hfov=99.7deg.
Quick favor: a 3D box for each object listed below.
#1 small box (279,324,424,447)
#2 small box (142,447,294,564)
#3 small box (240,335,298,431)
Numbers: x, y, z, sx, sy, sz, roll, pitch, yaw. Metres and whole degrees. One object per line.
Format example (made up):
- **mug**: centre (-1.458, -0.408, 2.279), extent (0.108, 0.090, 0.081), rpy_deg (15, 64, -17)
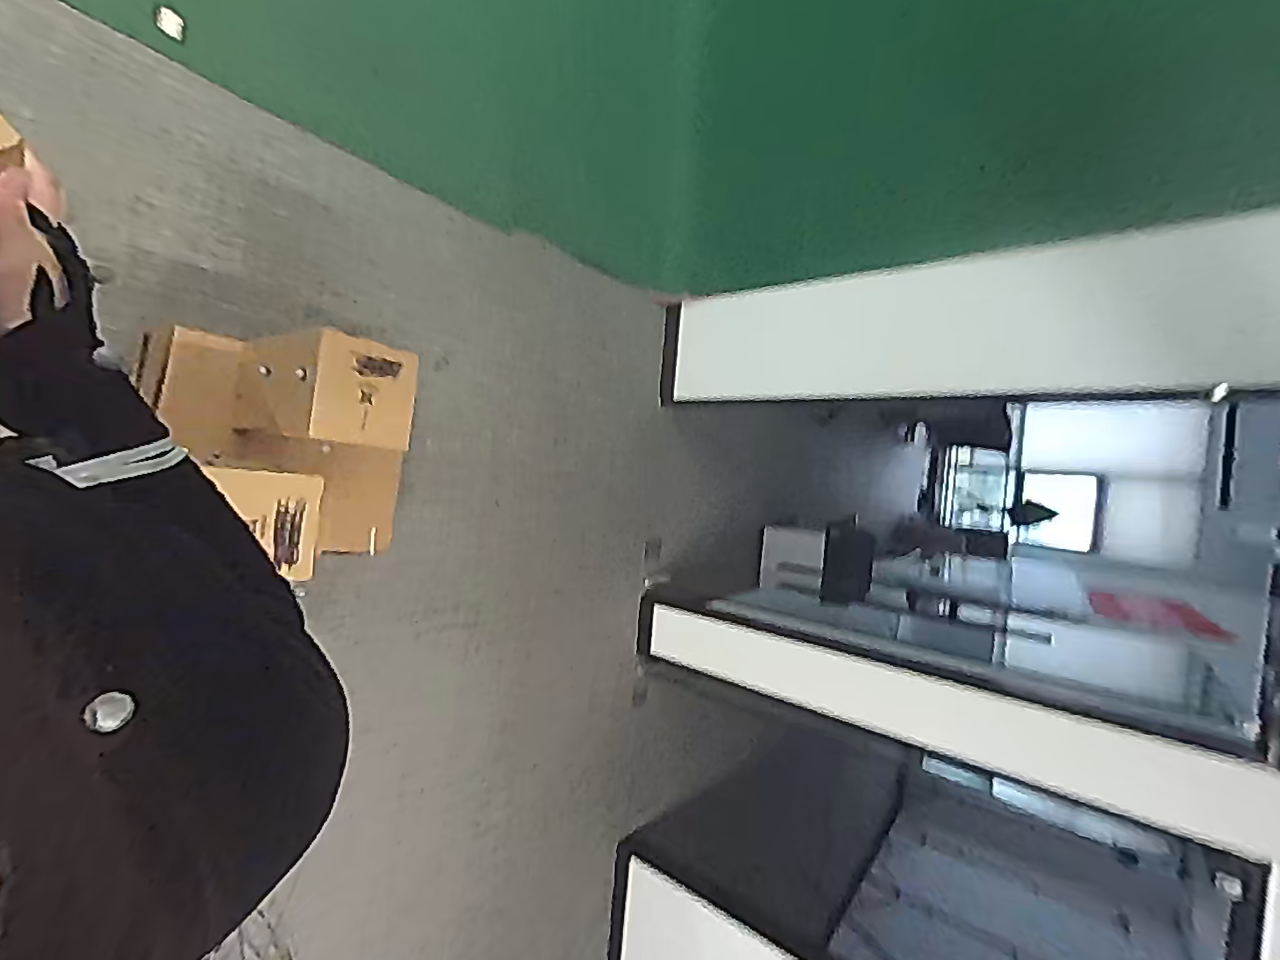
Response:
- **small box**: centre (-0.506, -0.155, 0.949), extent (0.168, 0.176, 0.179), rpy_deg (8, 87, -53)
- **small box**: centre (-0.738, 0.042, 0.944), extent (0.168, 0.176, 0.179), rpy_deg (6, 90, -54)
- **small box**: centre (-0.637, -0.173, 1.051), extent (0.179, 0.176, 0.168), rpy_deg (9, 87, -54)
